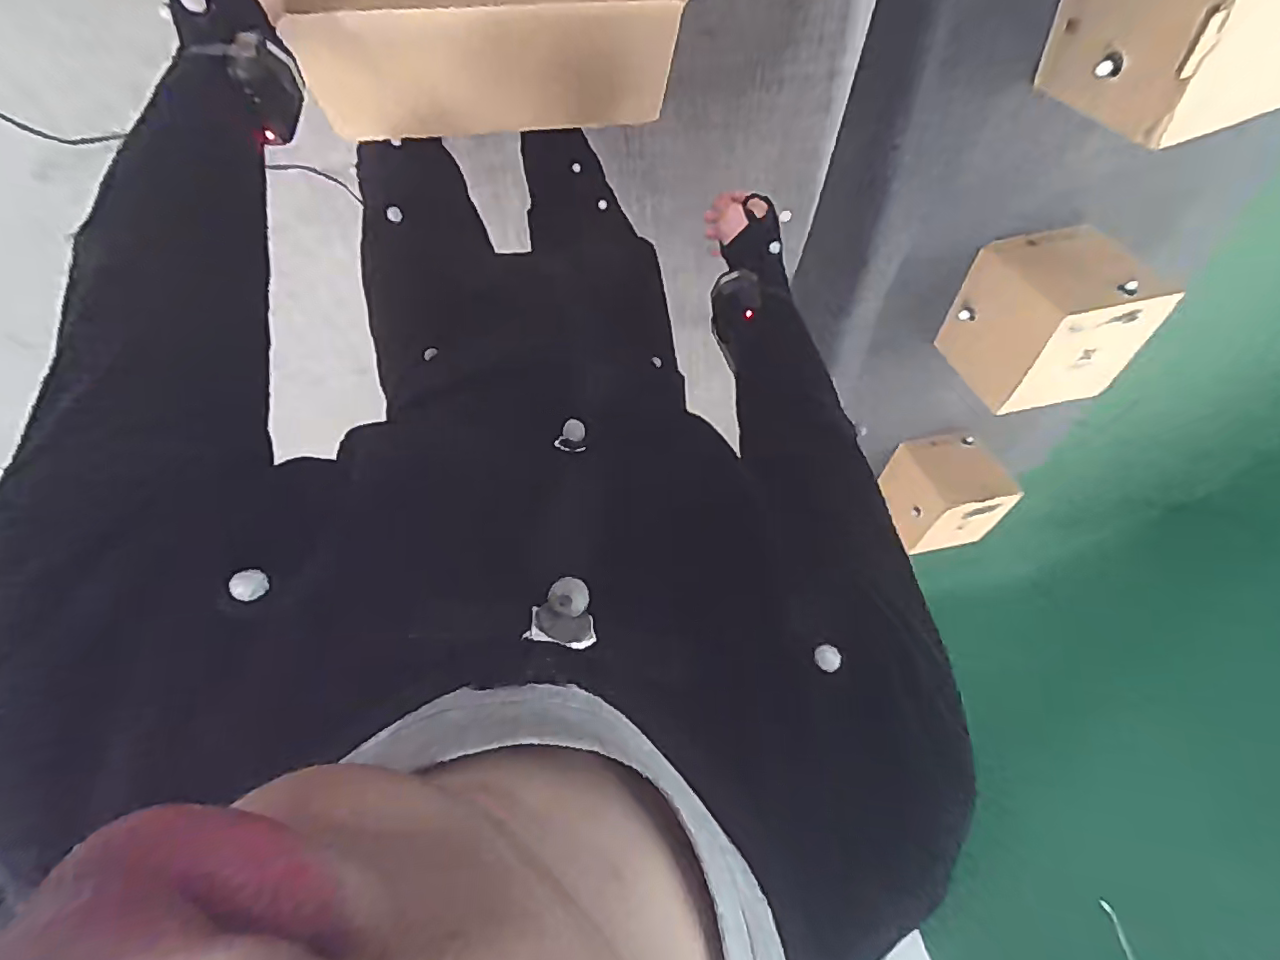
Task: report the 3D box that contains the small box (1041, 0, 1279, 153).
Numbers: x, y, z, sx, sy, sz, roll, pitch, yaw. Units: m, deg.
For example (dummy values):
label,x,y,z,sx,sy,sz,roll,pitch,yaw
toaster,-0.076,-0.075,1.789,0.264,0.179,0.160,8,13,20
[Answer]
label,x,y,z,sx,sy,sz,roll,pitch,yaw
small box,0.501,-0.424,0.462,0.179,0.176,0.168,-20,146,2

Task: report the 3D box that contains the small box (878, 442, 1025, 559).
label,x,y,z,sx,sy,sz,roll,pitch,yaw
small box,0.621,0.036,1.107,0.168,0.176,0.179,-9,144,-8

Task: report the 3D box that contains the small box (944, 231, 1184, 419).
label,x,y,z,sx,sy,sz,roll,pitch,yaw
small box,0.567,-0.216,0.760,0.168,0.176,0.179,-12,144,-5
